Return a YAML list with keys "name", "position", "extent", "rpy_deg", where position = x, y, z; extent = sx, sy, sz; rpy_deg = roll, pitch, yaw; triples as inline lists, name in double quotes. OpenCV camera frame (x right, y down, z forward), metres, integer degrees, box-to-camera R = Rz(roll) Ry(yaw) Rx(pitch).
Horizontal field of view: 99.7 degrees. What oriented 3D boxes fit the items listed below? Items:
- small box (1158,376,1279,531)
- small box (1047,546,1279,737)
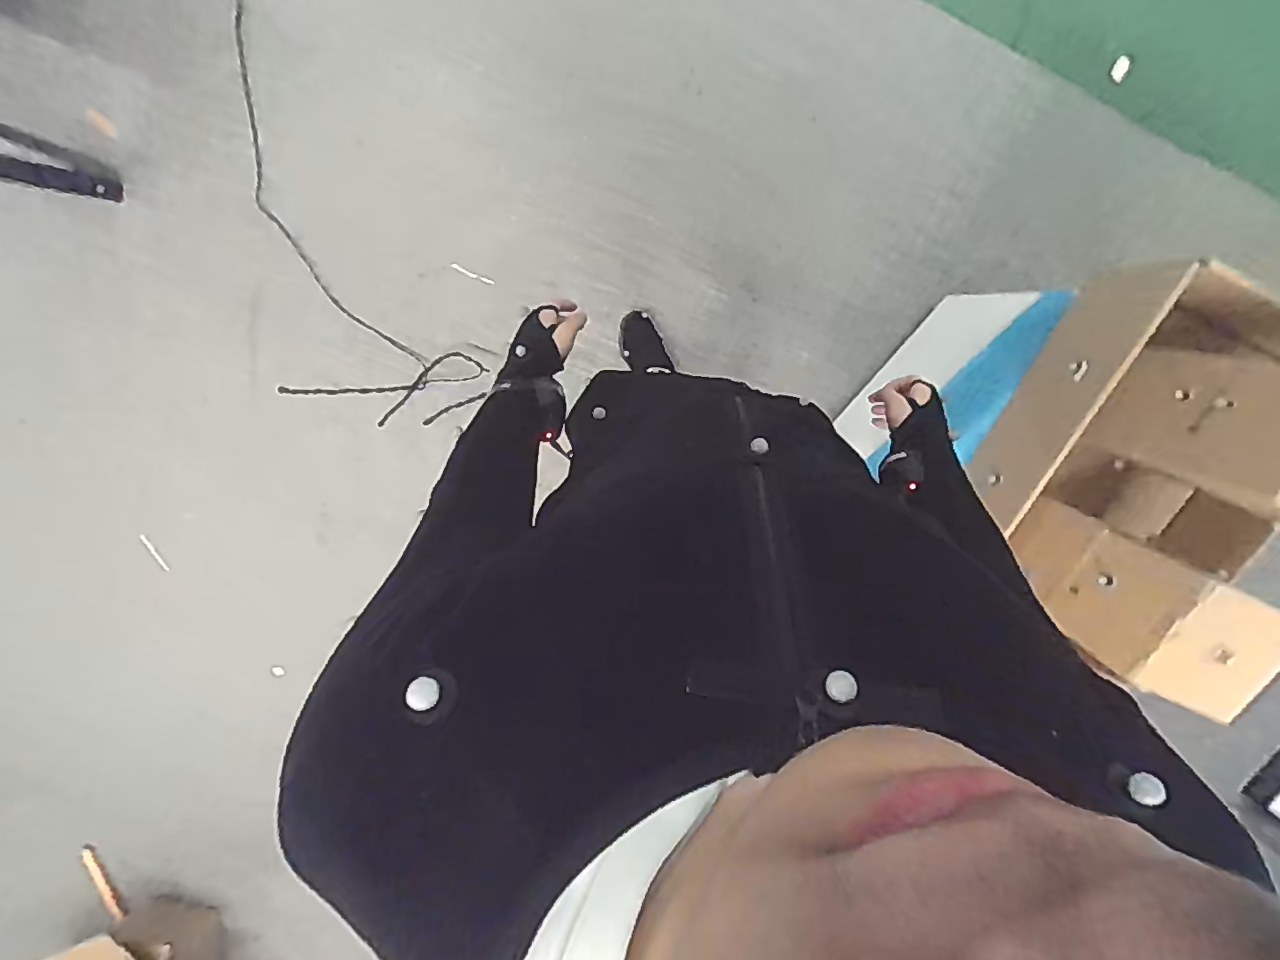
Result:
- name: "small box"
  position: [0.853, -0.023, 0.694]
  extent: [0.179, 0.176, 0.168]
  rpy_deg: [24, 106, -7]
- name: "small box"
  position: [0.750, 0.218, 0.769]
  extent: [0.179, 0.176, 0.168]
  rpy_deg: [24, 106, -7]
